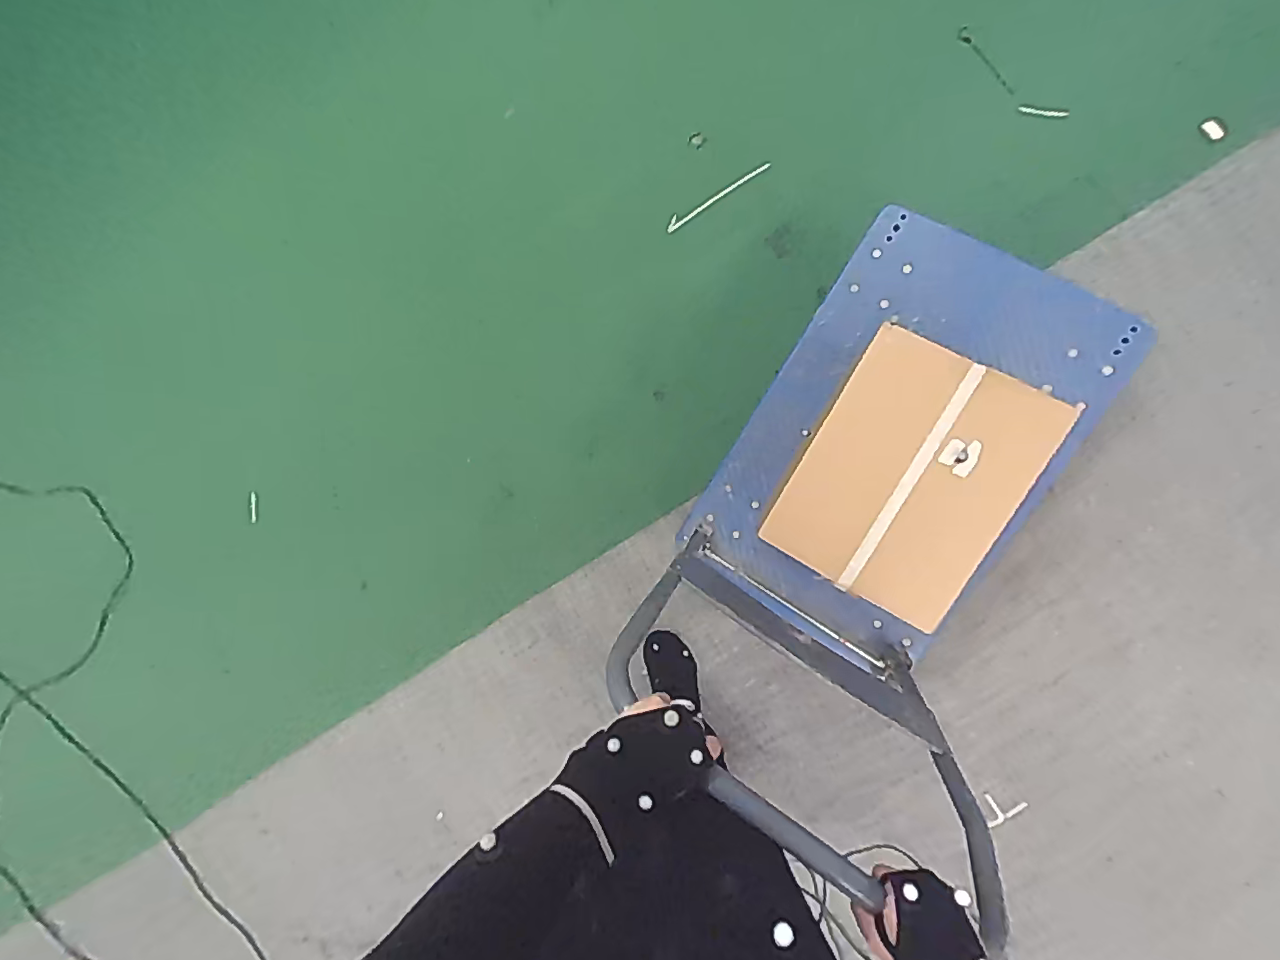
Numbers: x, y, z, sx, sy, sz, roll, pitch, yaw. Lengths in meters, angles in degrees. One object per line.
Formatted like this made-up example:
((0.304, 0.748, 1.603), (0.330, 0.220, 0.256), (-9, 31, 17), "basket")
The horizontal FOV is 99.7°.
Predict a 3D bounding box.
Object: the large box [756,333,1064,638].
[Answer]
((0.451, 0.006, 1.007), (0.320, 0.320, 0.408), (30, 99, 10), "large box")
